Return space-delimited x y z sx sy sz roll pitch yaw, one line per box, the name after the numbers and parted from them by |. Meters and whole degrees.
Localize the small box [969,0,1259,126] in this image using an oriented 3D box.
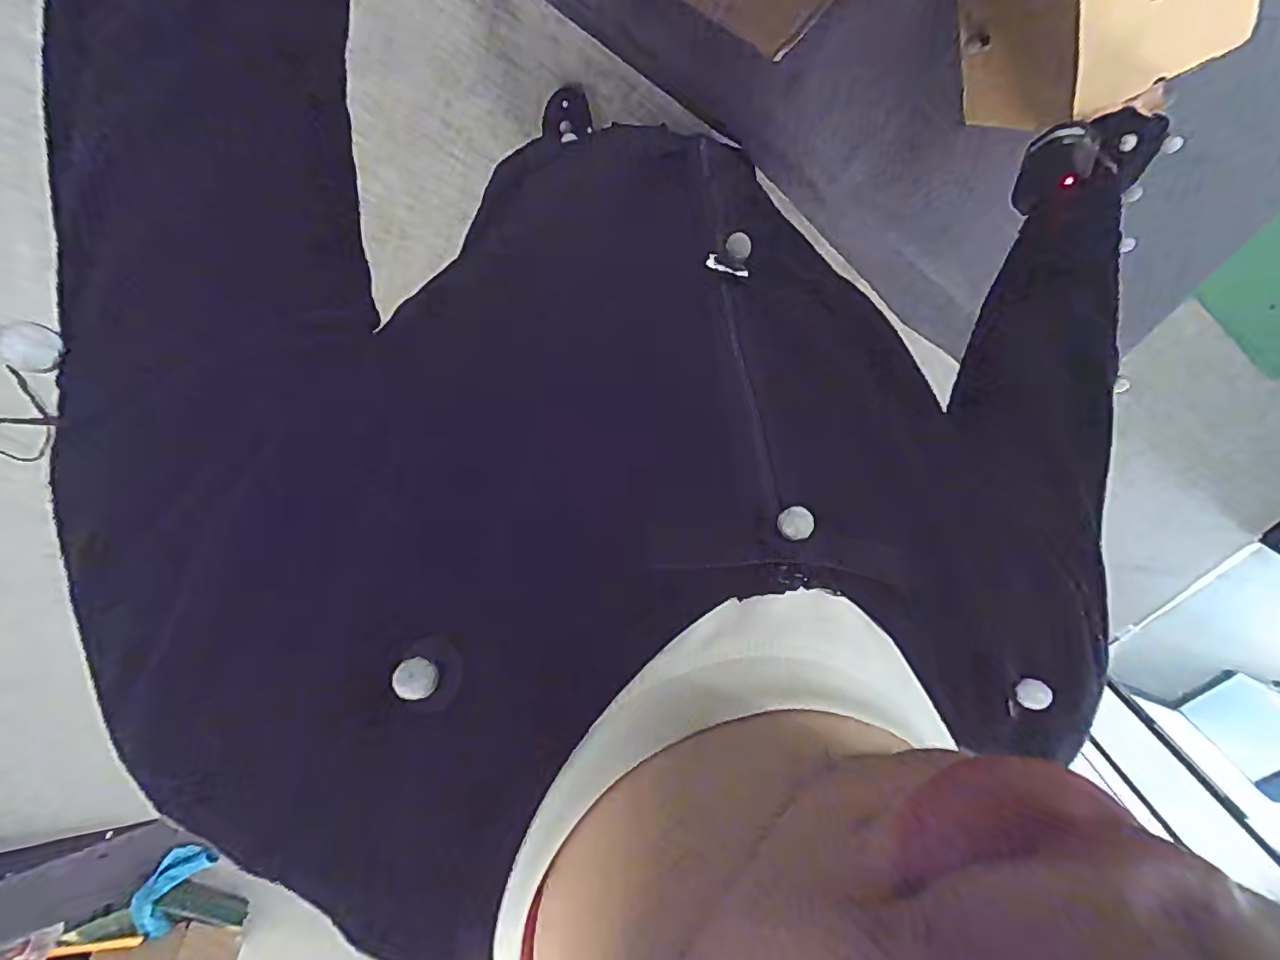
0.452 -0.487 0.531 0.168 0.176 0.179 -23 127 10 | small box
